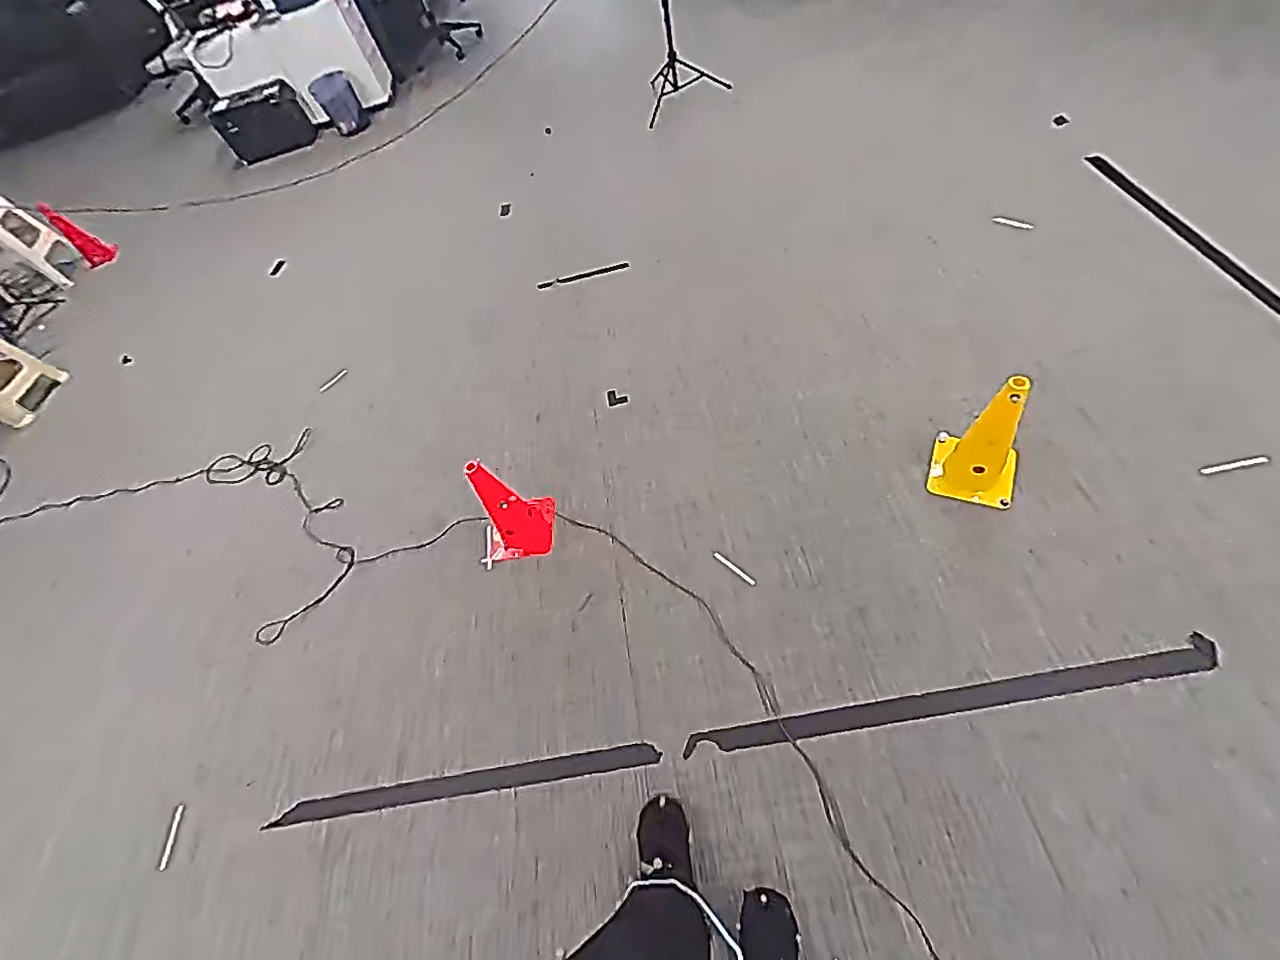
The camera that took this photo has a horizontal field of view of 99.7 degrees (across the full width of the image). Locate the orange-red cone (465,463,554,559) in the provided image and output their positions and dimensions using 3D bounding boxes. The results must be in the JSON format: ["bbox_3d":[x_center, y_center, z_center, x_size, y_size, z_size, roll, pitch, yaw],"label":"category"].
[{"bbox_3d":[-0.398,0.062,1.540,0.199,0.360,0.198,-6,57,9],"label":"orange-red cone"}]
